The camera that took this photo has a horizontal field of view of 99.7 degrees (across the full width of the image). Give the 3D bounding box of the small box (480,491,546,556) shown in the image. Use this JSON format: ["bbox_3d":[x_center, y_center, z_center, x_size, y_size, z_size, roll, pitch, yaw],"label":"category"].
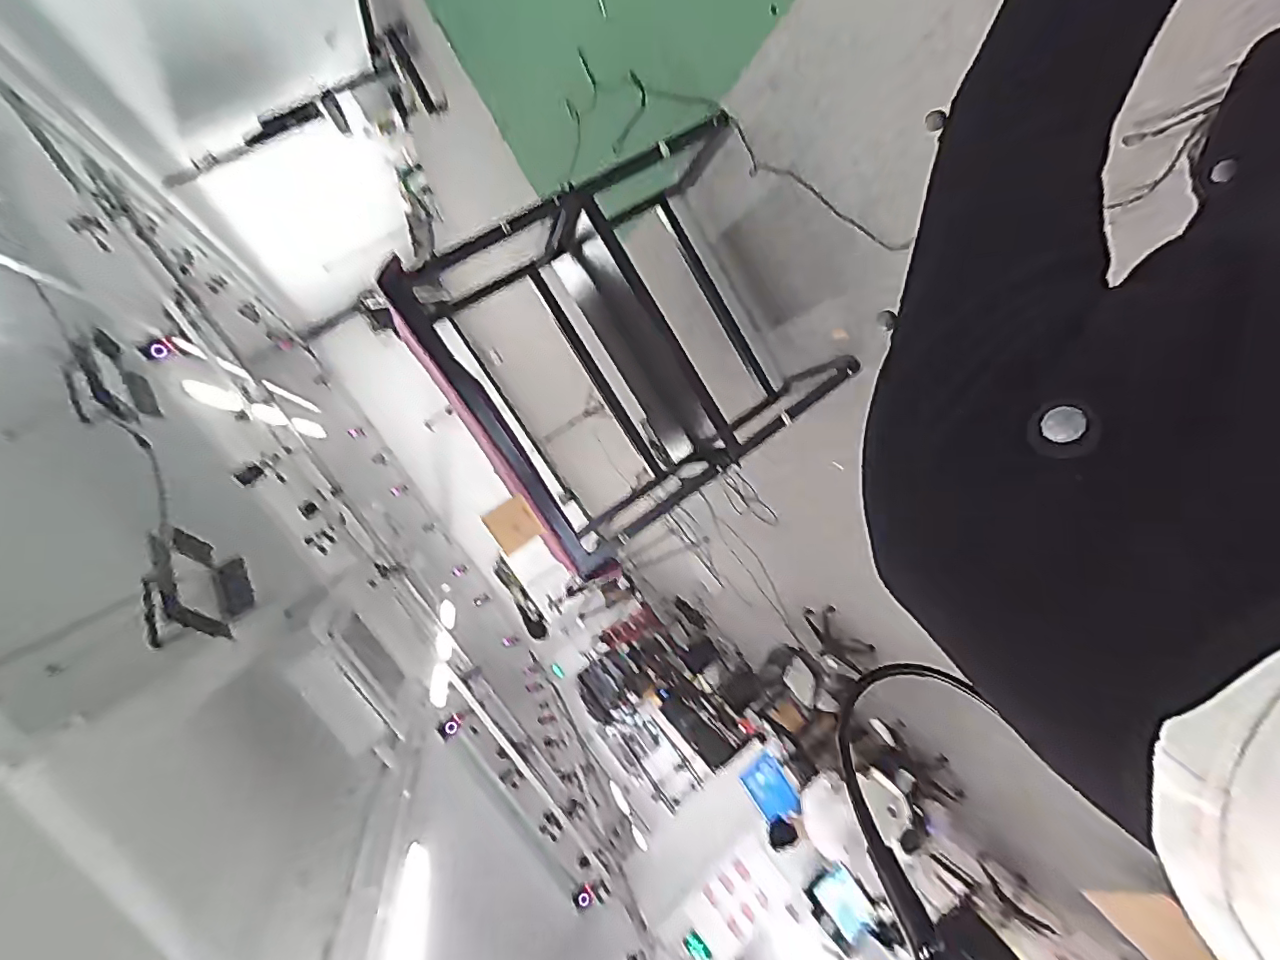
[{"bbox_3d":[-0.461,0.152,1.968,0.168,0.176,0.179,58,167,-10],"label":"small box"}]
